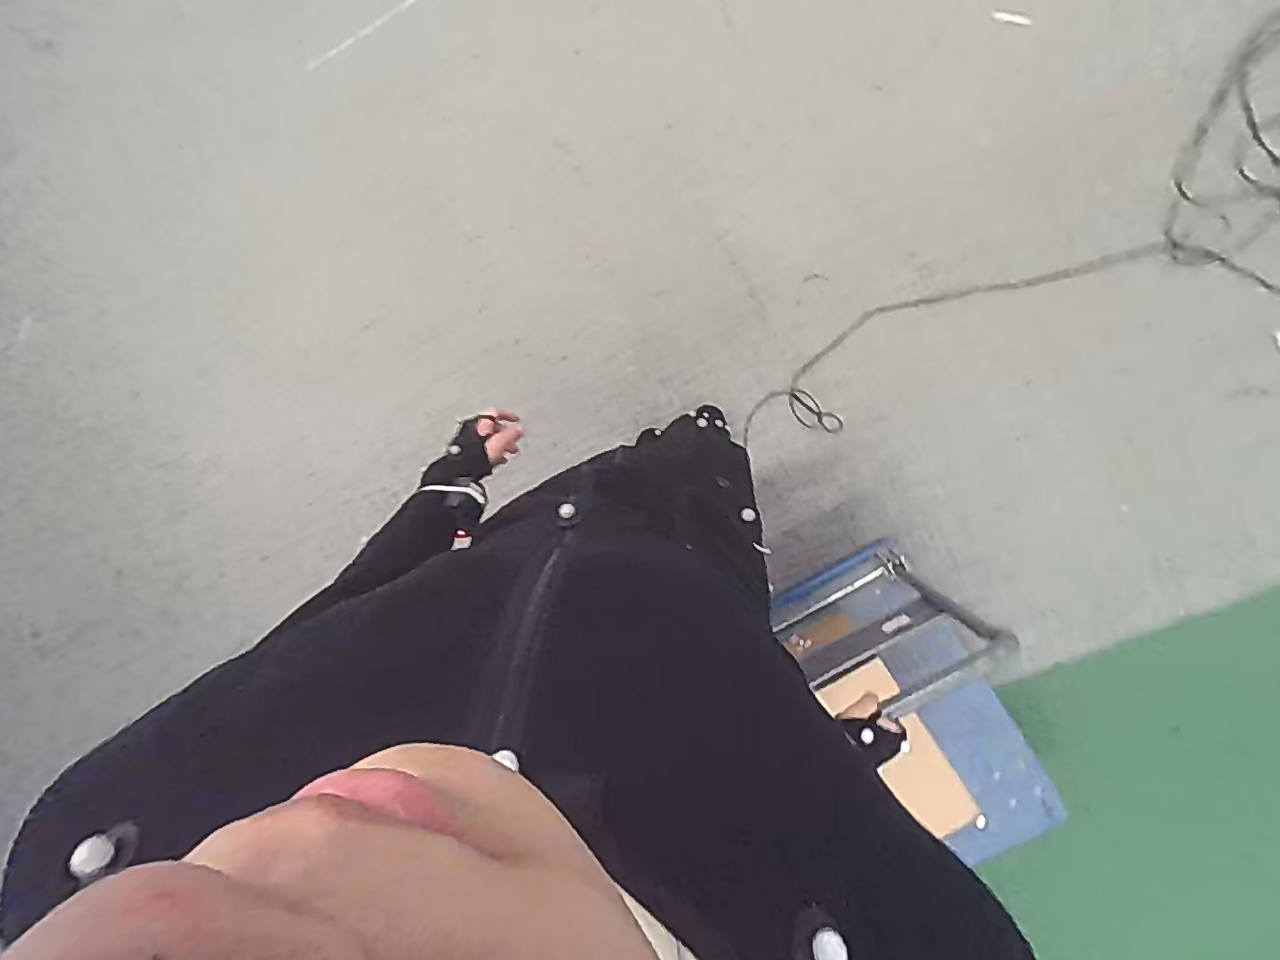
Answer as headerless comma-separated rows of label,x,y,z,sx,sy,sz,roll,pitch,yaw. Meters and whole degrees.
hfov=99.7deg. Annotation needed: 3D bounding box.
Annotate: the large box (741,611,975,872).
large box,0.488,0.599,1.302,0.320,0.320,0.408,-33,91,9
